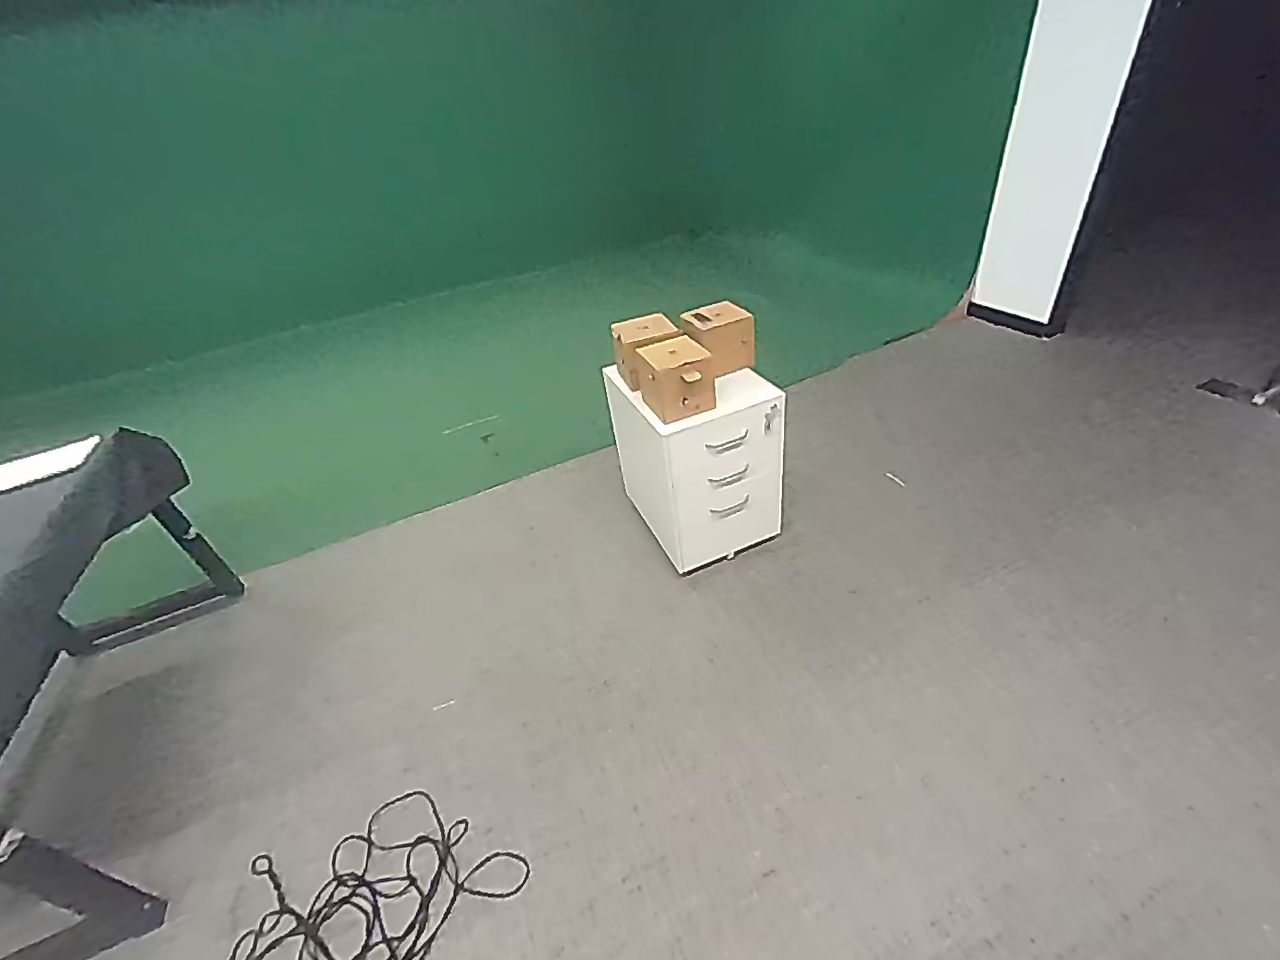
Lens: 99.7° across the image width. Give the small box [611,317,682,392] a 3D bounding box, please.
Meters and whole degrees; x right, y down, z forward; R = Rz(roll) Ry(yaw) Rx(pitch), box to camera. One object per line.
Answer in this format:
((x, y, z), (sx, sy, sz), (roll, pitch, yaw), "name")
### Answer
((0.023, -0.398, 1.723), (0.179, 0.176, 0.168), (-16, 39, -11), "small box")
